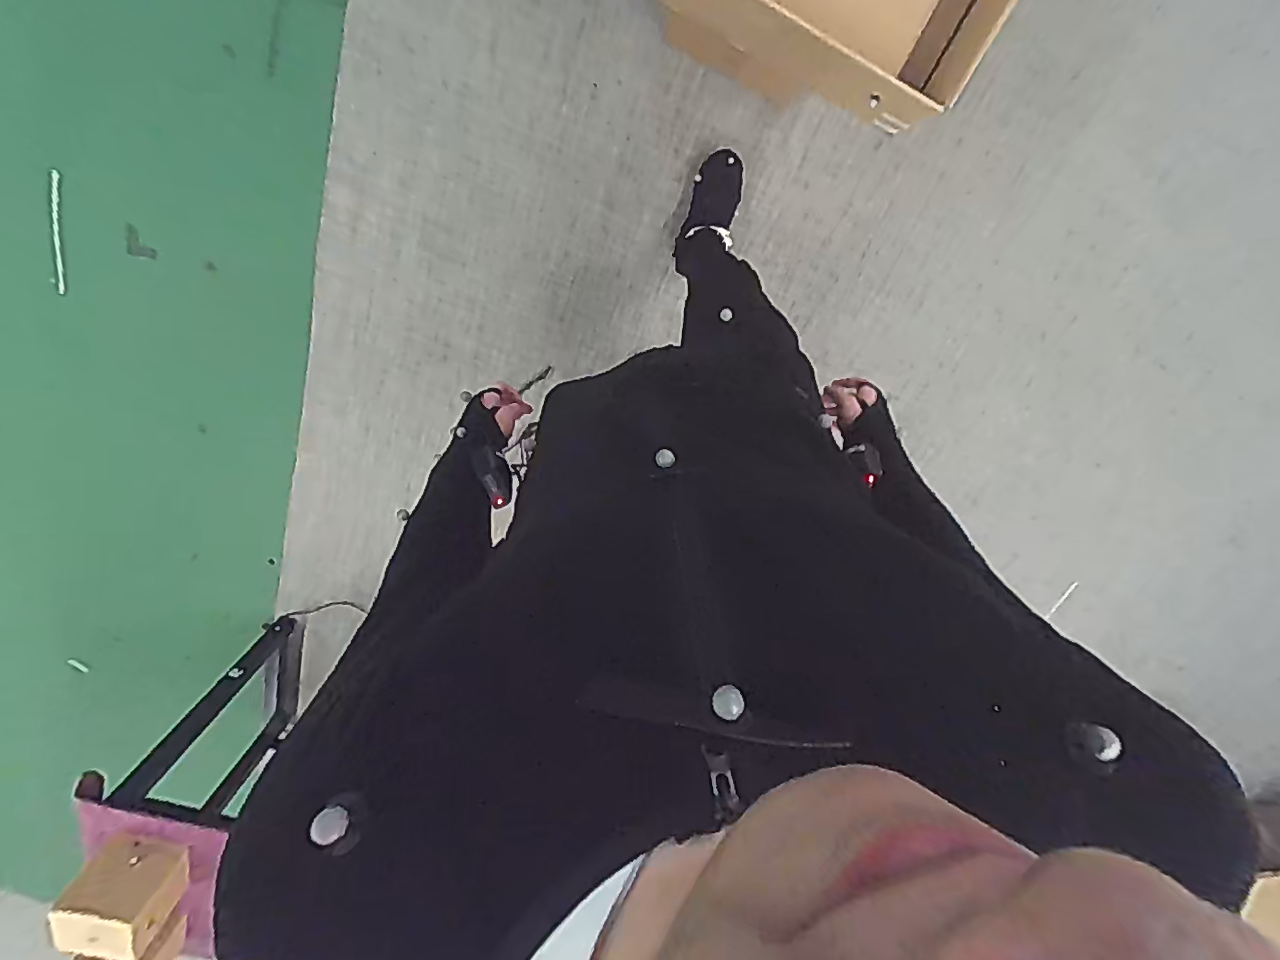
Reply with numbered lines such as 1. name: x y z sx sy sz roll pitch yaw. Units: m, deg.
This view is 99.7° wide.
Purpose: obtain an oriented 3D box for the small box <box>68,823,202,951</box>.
1. small box: -1.179 0.958 1.278 0.168 0.176 0.179 17 114 -7

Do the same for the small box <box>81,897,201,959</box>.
1. small box: -1.285 1.206 1.403 0.168 0.176 0.179 20 115 -8
